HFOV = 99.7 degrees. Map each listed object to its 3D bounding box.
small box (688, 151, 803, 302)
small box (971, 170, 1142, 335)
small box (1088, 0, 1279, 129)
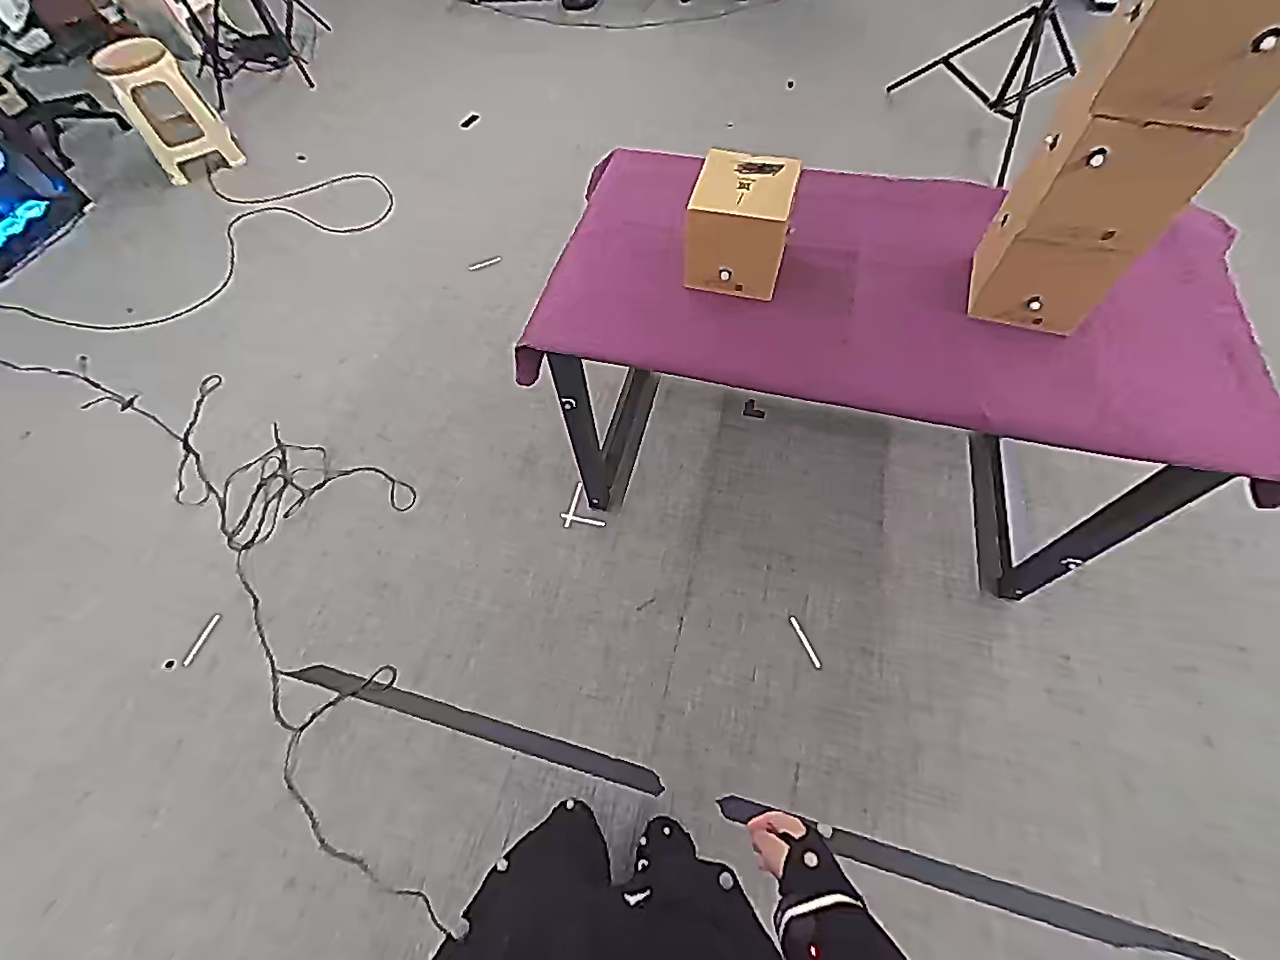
[{"bbox_3d":[0.184,-0.455,0.978,0.168,0.176,0.179,13,62,11],"label":"small box"},{"bbox_3d":[0.679,-0.376,0.901,0.168,0.176,0.179,16,62,14],"label":"small box"},{"bbox_3d":[0.656,-0.536,0.617,0.168,0.176,0.179,19,61,13],"label":"small box"}]
